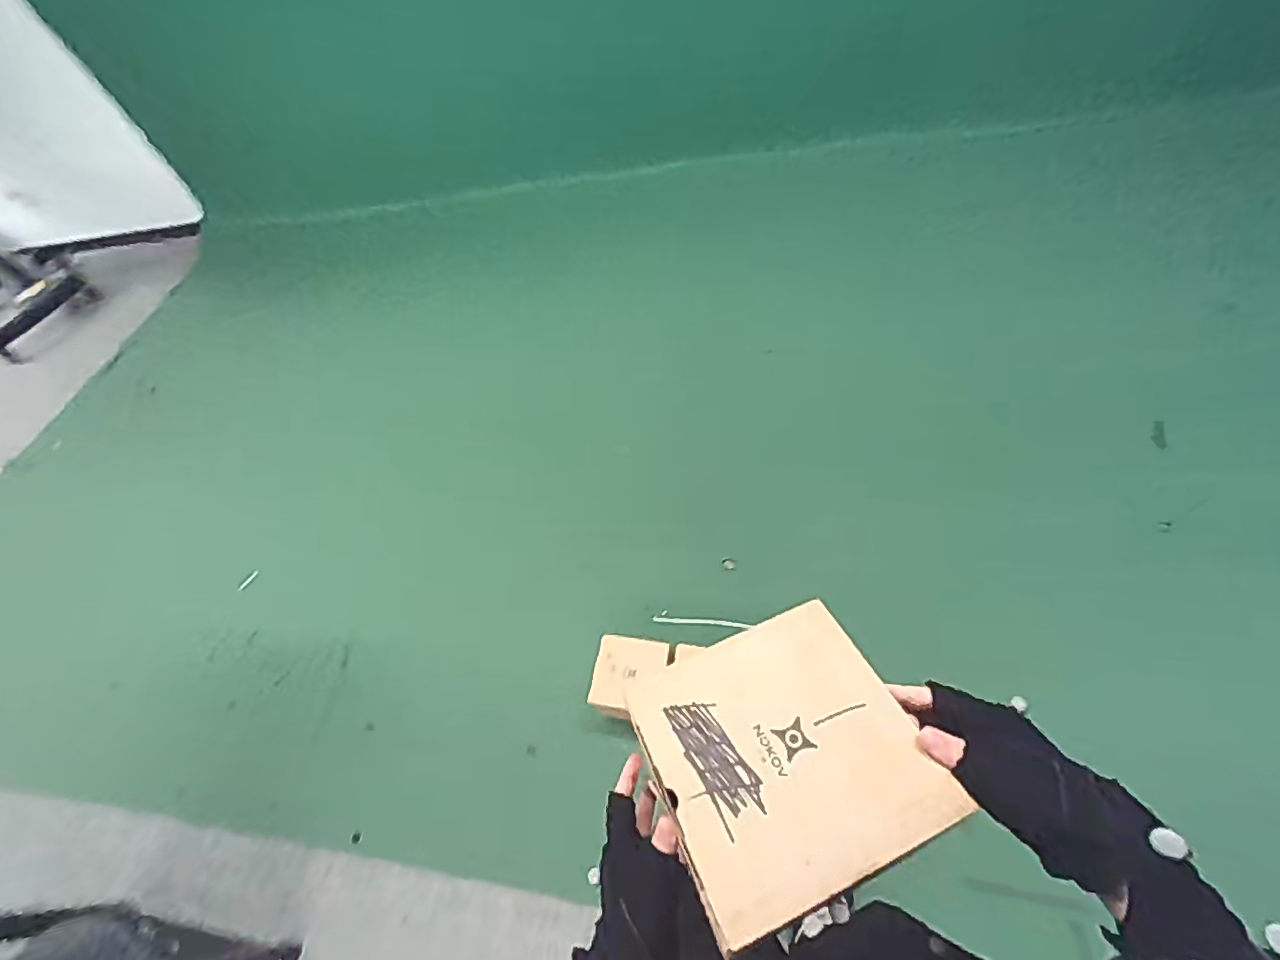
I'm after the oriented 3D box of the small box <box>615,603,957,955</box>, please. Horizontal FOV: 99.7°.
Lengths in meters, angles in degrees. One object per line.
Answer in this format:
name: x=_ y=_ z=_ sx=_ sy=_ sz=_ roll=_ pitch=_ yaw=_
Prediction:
small box: x=0.099 y=0.236 z=0.427 sx=0.179 sy=0.176 sz=0.168 roll=-21 pitch=48 yaw=-11
